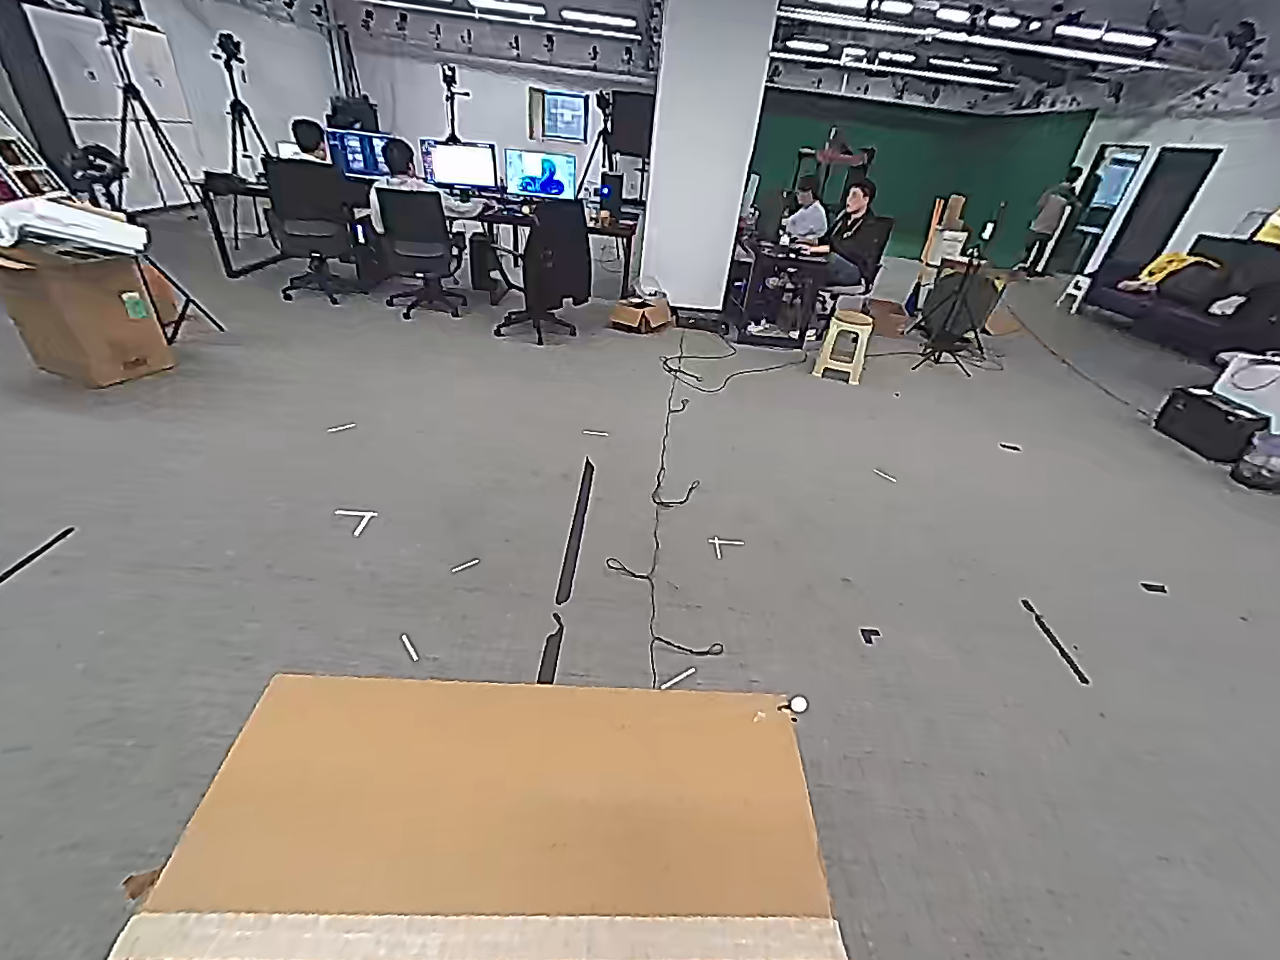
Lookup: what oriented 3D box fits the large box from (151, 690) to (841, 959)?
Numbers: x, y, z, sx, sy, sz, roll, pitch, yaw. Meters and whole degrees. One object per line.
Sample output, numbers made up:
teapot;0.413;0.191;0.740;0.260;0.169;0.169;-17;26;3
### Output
large box;-0.090;0.386;0.415;0.408;0.320;0.320;4;42;-4
